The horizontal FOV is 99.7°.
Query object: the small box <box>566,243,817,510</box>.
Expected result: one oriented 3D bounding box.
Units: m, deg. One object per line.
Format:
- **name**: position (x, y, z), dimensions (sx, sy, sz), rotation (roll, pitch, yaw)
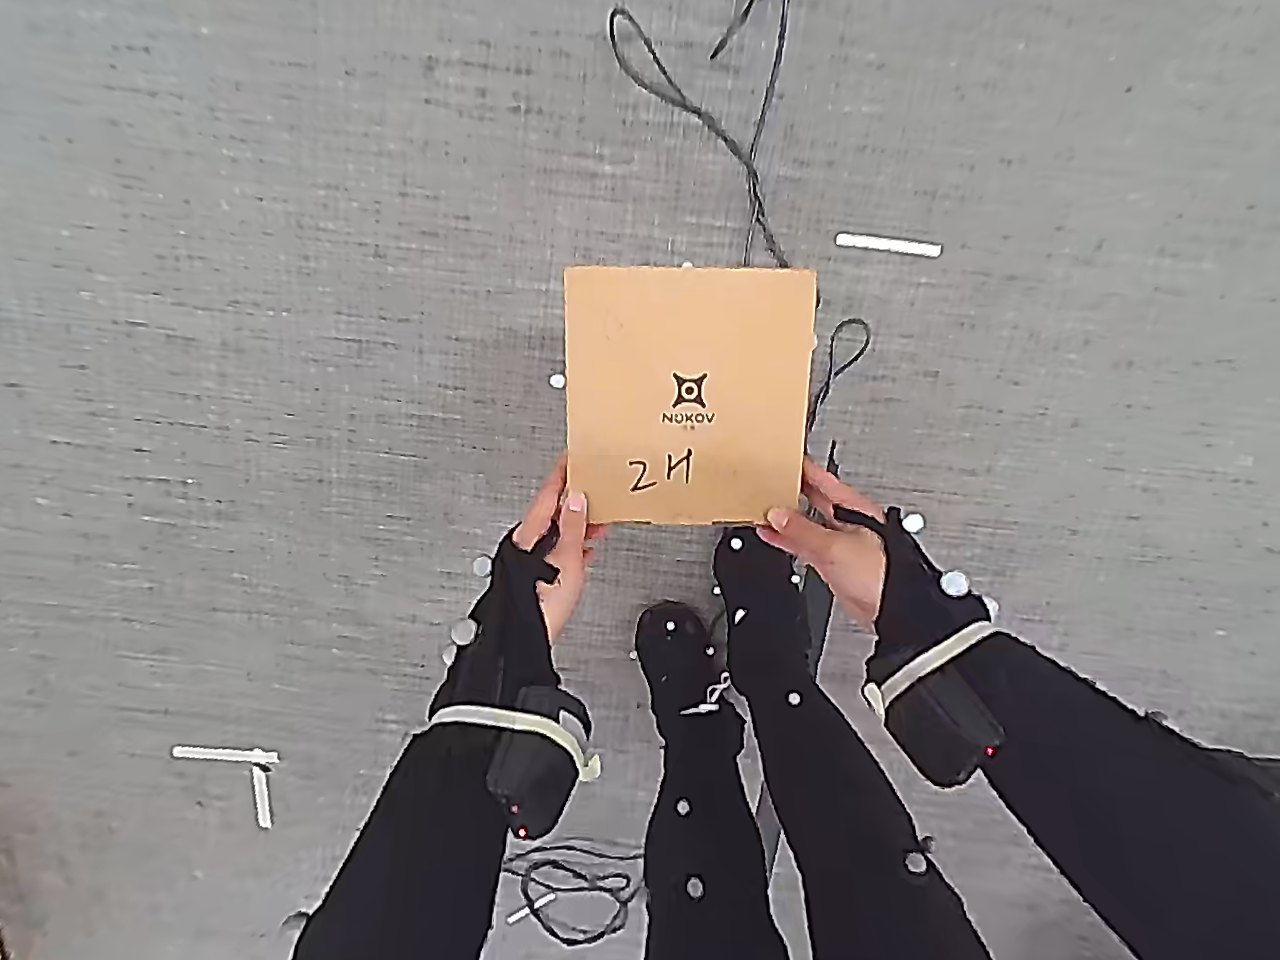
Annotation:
- **small box**: position (0.029, -0.083, 0.441), dimensions (0.168, 0.176, 0.179), rotation (1, 104, -1)
